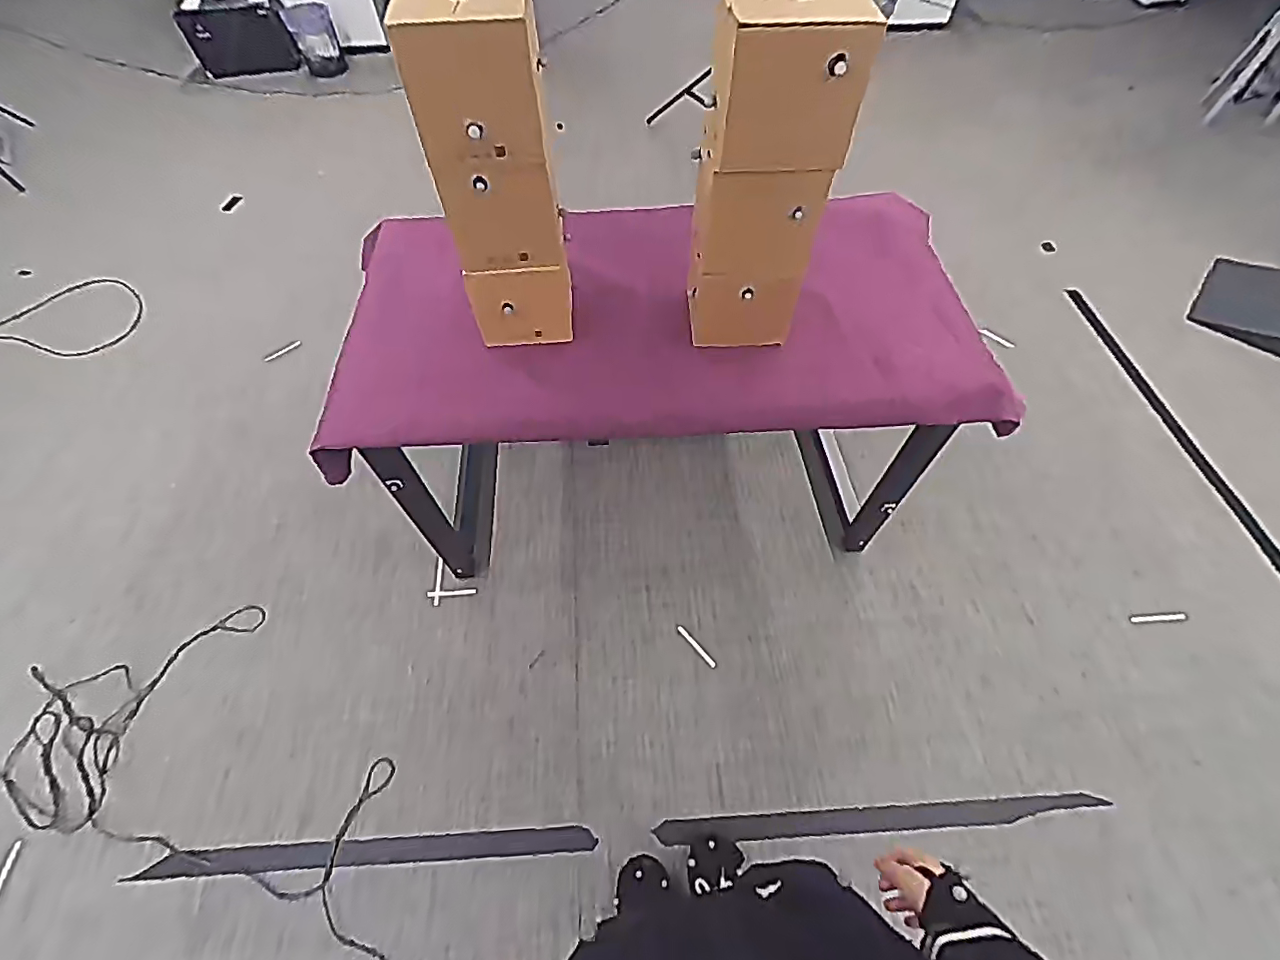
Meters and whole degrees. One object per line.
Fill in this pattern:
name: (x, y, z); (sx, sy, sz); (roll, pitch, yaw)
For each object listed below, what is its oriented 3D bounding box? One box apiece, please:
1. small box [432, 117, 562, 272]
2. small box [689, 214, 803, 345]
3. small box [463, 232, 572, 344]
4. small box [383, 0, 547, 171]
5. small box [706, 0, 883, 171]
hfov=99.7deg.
small box: (-0.221, -0.465, 0.878); (0.168, 0.176, 0.179); (-6, 57, -3)
small box: (0.184, -0.366, 1.003); (0.179, 0.176, 0.168); (-2, 58, -1)
small box: (-0.219, -0.370, 1.012); (0.168, 0.176, 0.179); (-5, 57, -2)
small box: (-0.222, -0.552, 0.738); (0.168, 0.176, 0.179); (-5, 58, -2)
small box: (0.190, -0.539, 0.723); (0.179, 0.176, 0.168); (-3, 58, 0)
